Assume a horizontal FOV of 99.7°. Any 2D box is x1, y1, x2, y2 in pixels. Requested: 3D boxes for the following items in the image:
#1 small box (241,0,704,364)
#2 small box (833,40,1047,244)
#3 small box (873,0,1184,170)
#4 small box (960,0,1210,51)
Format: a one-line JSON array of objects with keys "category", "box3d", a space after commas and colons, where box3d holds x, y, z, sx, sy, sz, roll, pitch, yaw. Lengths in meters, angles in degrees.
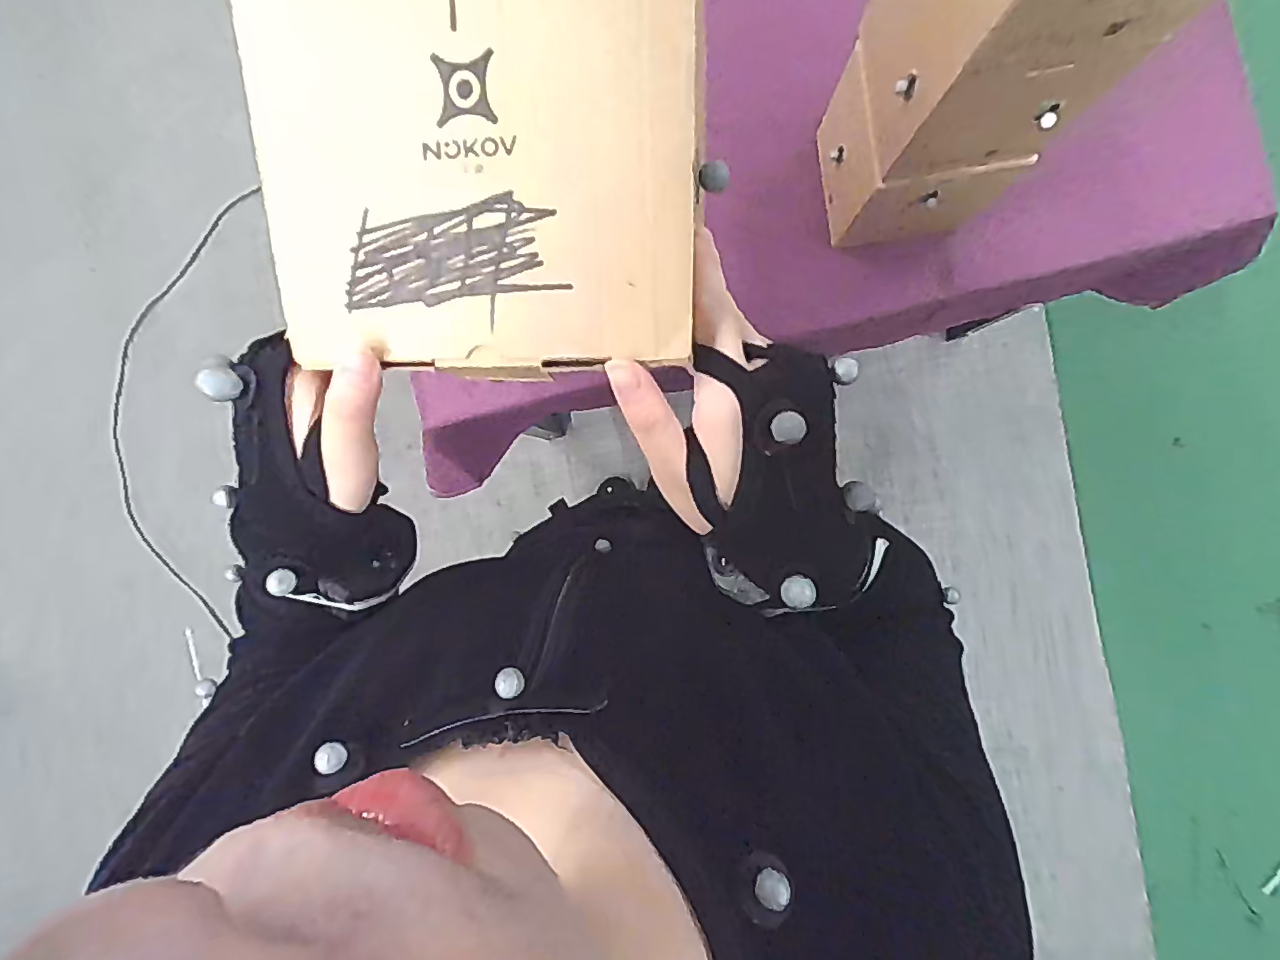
[{"category": "small box", "box3d": [-0.054, -0.152, 0.277, 0.168, 0.176, 0.179, 1, 104, 8]}, {"category": "small box", "box3d": [0.347, -0.411, 0.664, 0.179, 0.176, 0.168, -7, 91, 4]}, {"category": "small box", "box3d": [0.335, -0.417, 0.502, 0.168, 0.176, 0.179, -7, 90, 3]}, {"category": "small box", "box3d": [0.321, -0.414, 0.338, 0.168, 0.176, 0.179, -8, 91, 3]}]
